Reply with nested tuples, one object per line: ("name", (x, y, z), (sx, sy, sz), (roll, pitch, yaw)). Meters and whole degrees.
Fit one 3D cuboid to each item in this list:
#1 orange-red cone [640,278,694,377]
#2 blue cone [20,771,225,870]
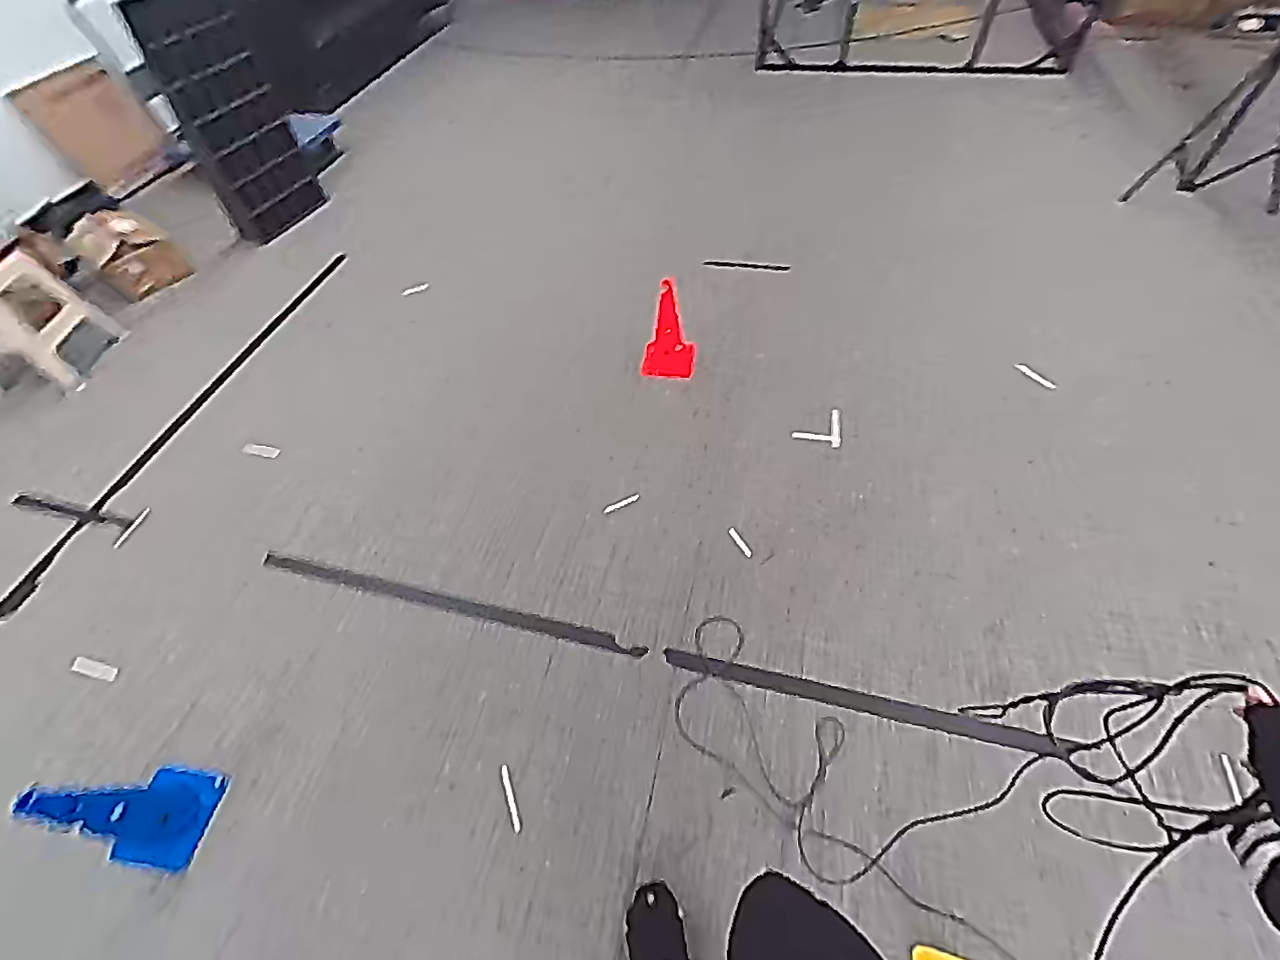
("orange-red cone", (0.092, -0.577, 1.995), (0.199, 0.360, 0.198), (5, 54, 10))
("blue cone", (-1.124, 0.705, 1.151), (0.193, 0.380, 0.192), (5, 54, 8))
